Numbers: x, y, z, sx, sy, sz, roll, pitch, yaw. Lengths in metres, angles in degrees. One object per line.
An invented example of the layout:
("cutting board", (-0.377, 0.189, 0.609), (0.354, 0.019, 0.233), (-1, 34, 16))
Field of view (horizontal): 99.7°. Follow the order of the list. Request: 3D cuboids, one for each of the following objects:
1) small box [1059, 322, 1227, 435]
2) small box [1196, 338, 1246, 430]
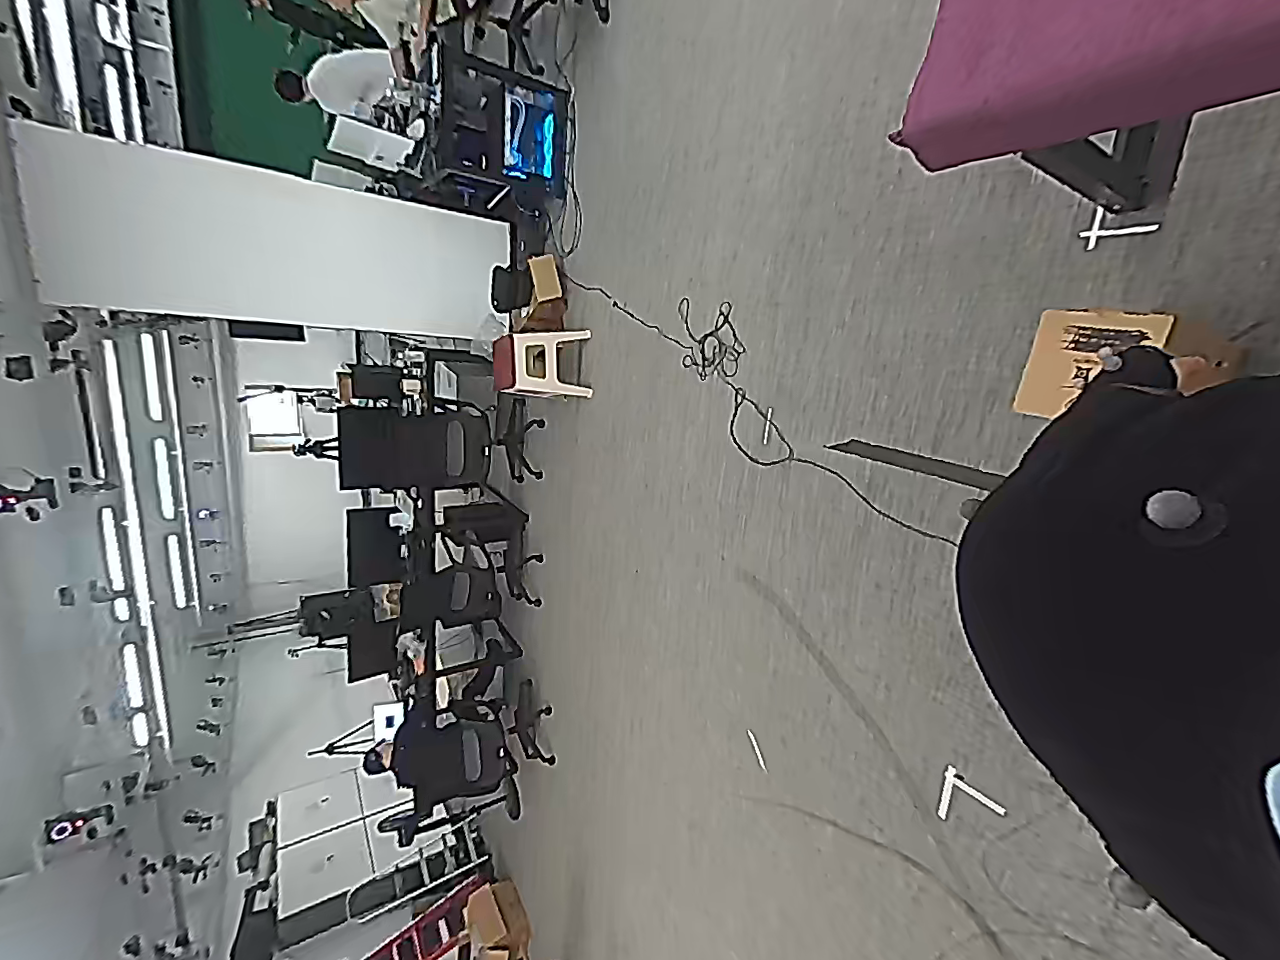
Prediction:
("small box", (0.905, -0.184, 0.974), (0.168, 0.176, 0.179), (26, 116, 53))
("small box", (1.038, -0.200, 1.070), (0.168, 0.176, 0.179), (33, 121, 50))
